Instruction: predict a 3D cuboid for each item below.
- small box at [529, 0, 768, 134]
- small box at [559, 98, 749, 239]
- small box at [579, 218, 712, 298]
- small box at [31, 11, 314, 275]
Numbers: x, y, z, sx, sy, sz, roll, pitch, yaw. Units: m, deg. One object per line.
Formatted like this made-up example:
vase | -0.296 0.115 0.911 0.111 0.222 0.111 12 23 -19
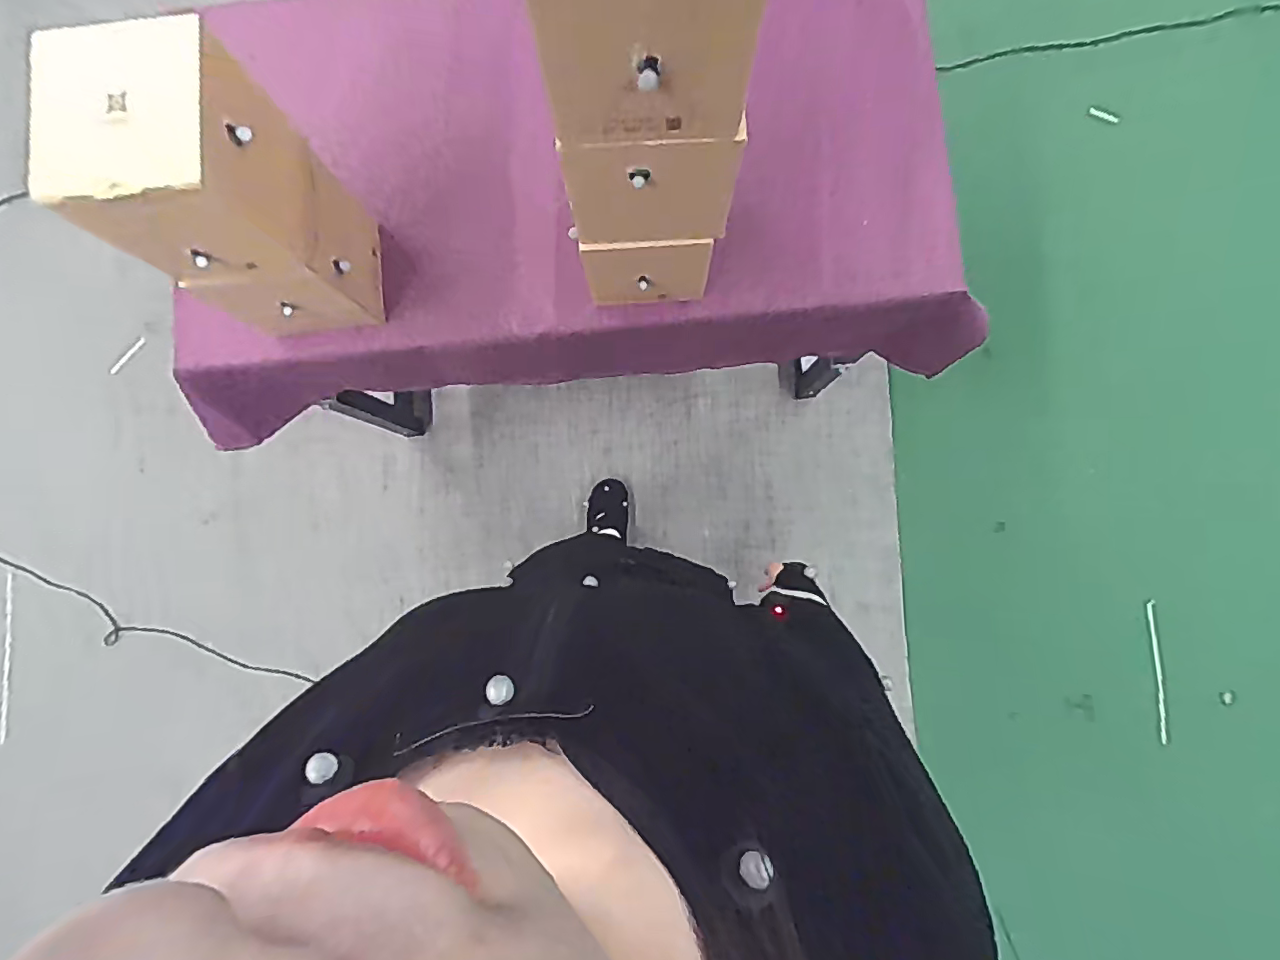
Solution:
small box | 0.008 -0.398 0.416 0.168 0.176 0.179 -2 86 1
small box | 0.013 -0.377 0.579 0.179 0.176 0.168 -1 86 0
small box | 0.008 -0.361 0.743 0.168 0.176 0.179 -2 85 0
small box | -0.483 -0.347 0.585 0.168 0.176 0.179 -5 86 1
